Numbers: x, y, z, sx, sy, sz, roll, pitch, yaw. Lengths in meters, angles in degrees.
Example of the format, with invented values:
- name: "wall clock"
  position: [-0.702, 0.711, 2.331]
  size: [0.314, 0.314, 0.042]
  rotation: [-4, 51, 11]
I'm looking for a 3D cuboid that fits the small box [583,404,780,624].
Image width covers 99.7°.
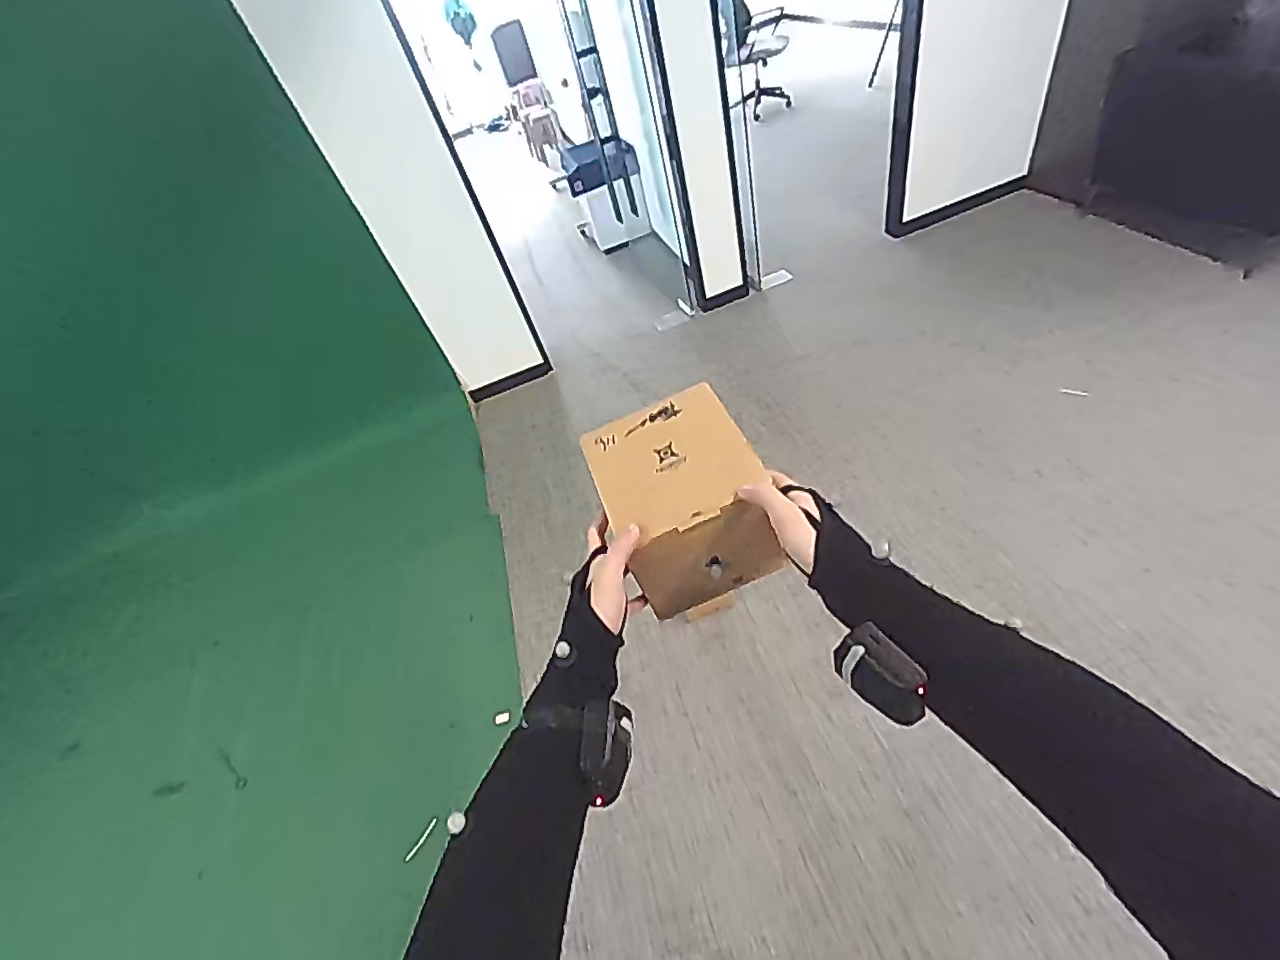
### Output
- name: "small box"
  position: [0.054, 0.049, 0.642]
  size: [0.168, 0.176, 0.179]
  rotation: [-24, 49, -1]
